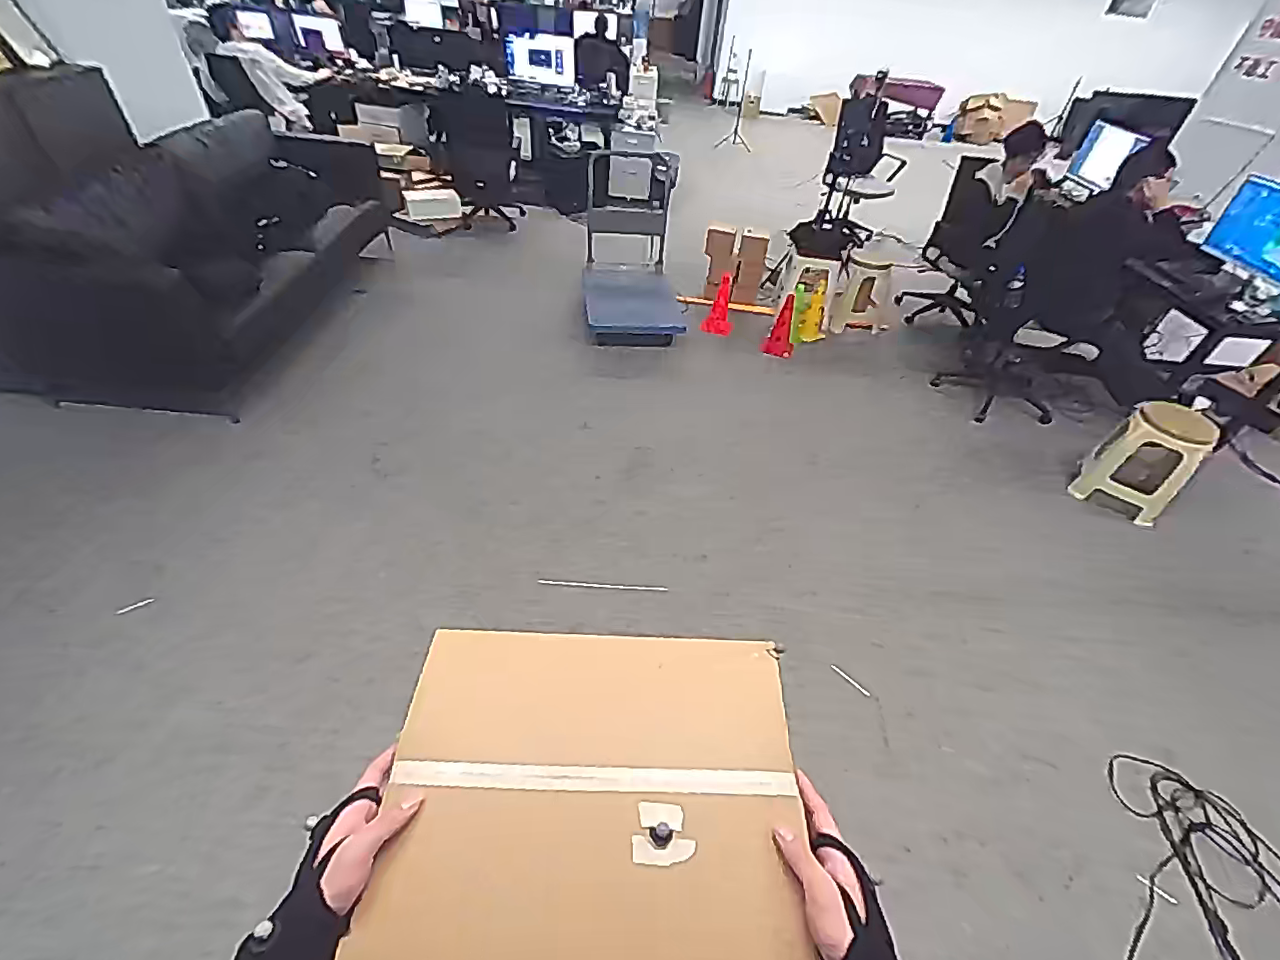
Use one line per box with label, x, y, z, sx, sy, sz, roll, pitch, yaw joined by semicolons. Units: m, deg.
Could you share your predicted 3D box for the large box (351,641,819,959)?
large box;-0.051;0.414;0.656;0.408;0.320;0.320;2;46;-1
